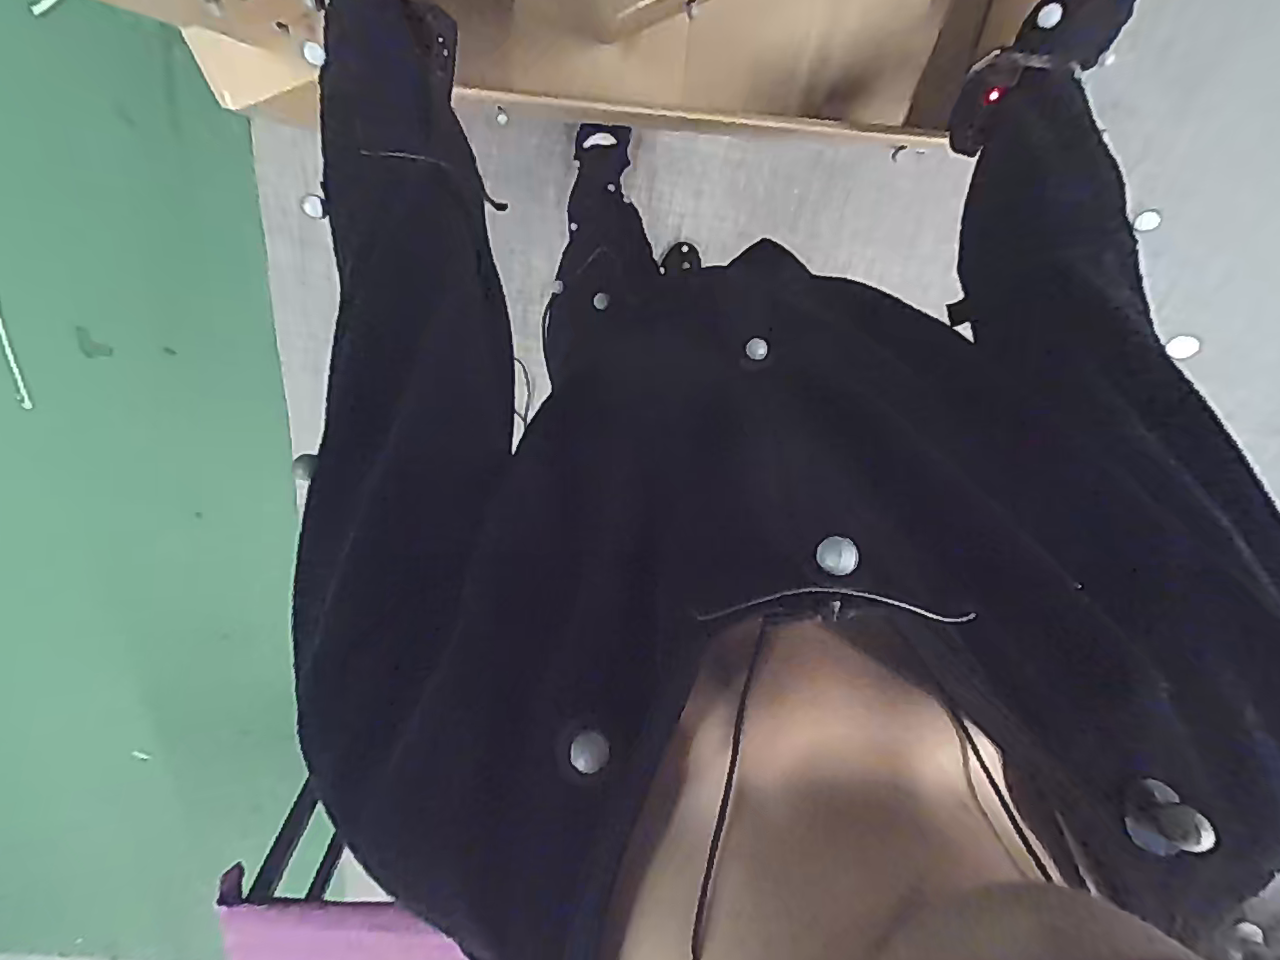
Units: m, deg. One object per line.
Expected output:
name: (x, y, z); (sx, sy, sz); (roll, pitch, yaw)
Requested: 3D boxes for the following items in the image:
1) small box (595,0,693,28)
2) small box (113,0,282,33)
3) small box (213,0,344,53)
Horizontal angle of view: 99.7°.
small box: (0.021, -0.499, 0.432); (0.168, 0.176, 0.179); (-19, 122, 7)
small box: (-0.549, -0.651, 0.606); (0.168, 0.176, 0.179); (-15, 119, 7)
small box: (-0.557, -0.739, 0.745); (0.168, 0.176, 0.179); (-20, 117, 9)
